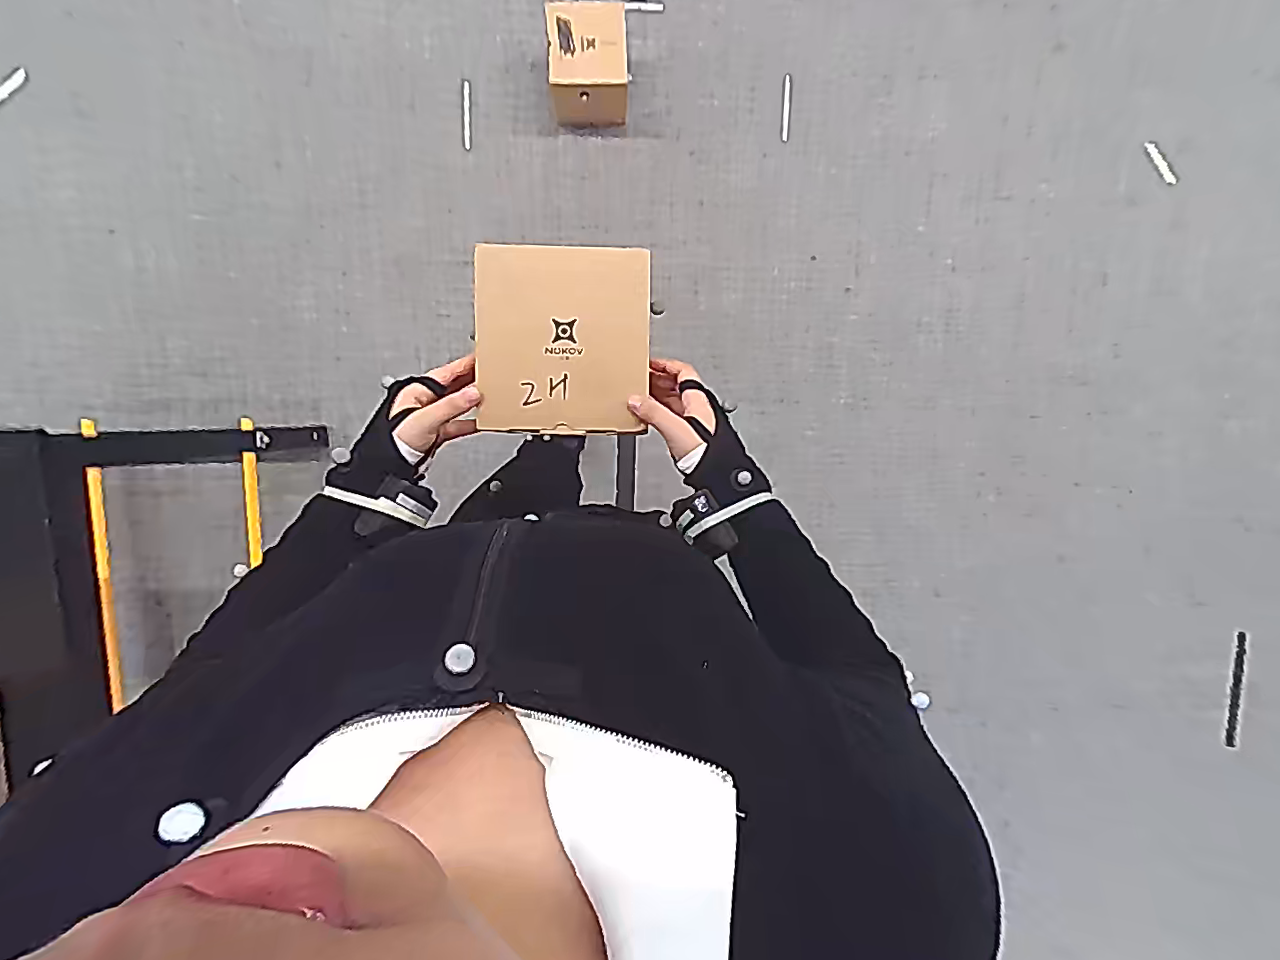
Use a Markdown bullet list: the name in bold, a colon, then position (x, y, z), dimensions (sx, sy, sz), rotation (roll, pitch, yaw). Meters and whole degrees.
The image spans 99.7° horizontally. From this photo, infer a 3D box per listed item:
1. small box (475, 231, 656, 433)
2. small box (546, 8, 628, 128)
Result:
- **small box**: position (-0.074, -0.143, 0.581), dimensions (0.168, 0.176, 0.179), rotation (1, 94, -3)
- **small box**: position (-0.119, -0.951, 1.260), dimensions (0.179, 0.176, 0.168), rotation (-3, 97, -3)
